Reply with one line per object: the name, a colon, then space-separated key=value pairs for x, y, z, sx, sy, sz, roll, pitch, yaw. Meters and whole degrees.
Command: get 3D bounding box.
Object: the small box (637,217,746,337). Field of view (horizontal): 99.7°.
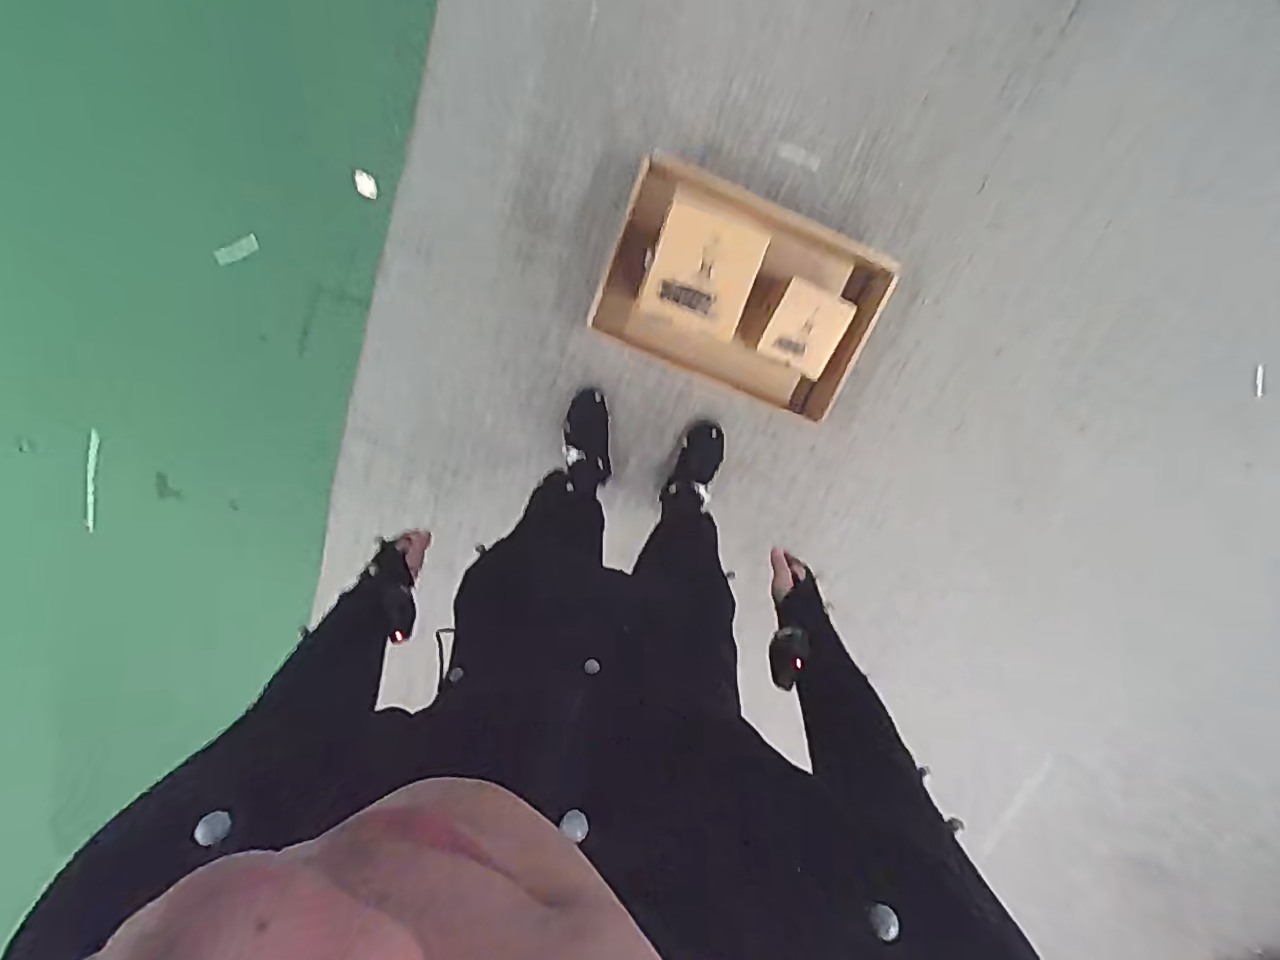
small box: x=0.095 y=-0.407 z=1.105 sx=0.168 sy=0.176 sz=0.179 roll=18 pitch=106 yaw=-6
